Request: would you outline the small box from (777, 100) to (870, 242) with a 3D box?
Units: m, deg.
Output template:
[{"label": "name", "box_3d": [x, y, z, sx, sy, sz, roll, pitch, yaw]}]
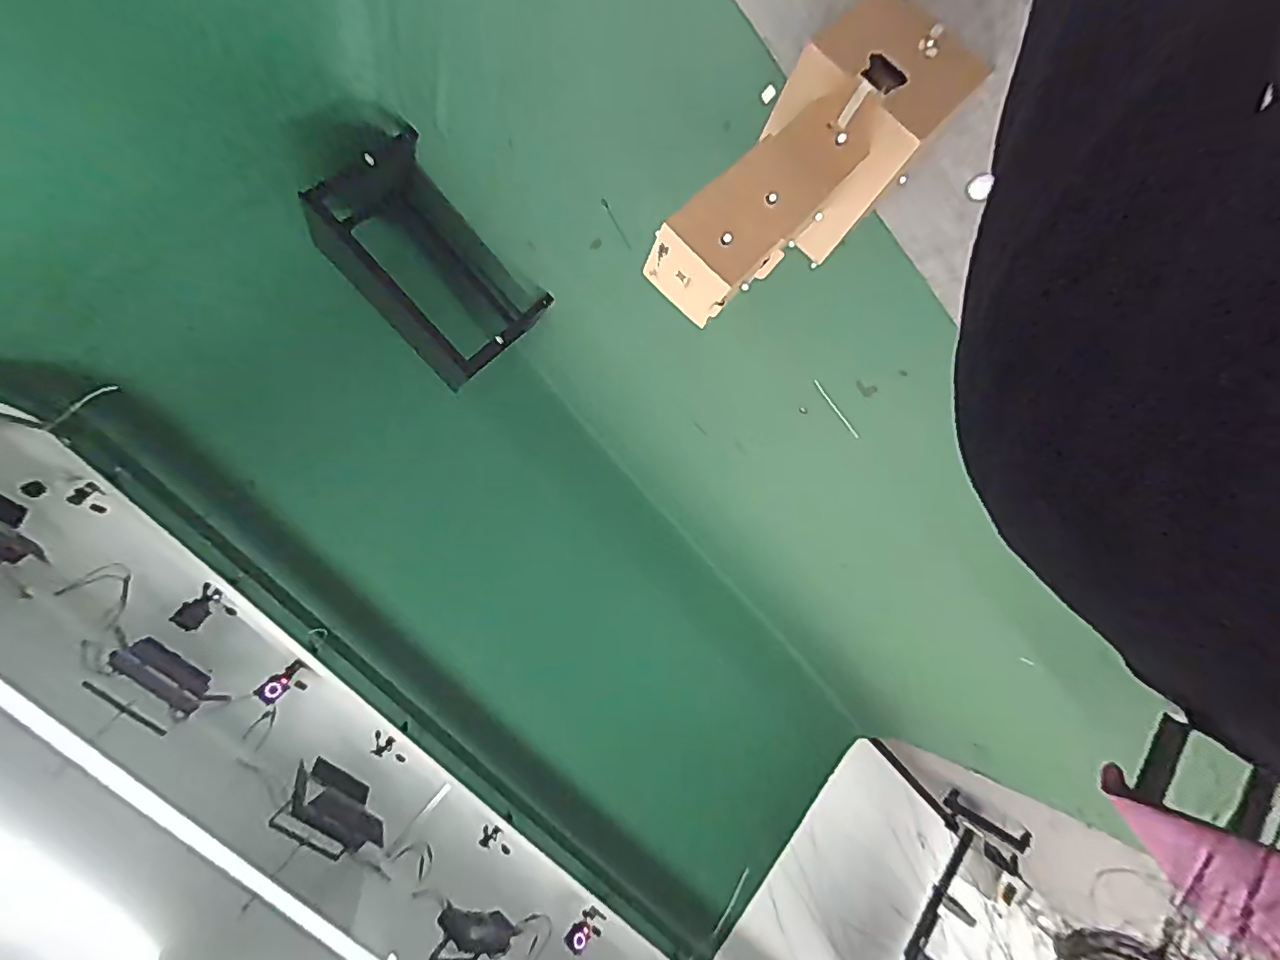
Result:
[{"label": "small box", "box_3d": [0.368, -0.678, 1.195, 0.168, 0.176, 0.179, 43, 162, -1]}]

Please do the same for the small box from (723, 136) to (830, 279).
[{"label": "small box", "box_3d": [0.261, -0.570, 1.135, 0.179, 0.176, 0.168, 44, 162, -3]}]

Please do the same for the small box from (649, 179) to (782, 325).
[{"label": "small box", "box_3d": [0.151, -0.457, 1.087, 0.179, 0.176, 0.168, 42, 162, -2]}]

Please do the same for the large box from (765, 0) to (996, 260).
[{"label": "large box", "box_3d": [0.525, -0.839, 1.297, 0.320, 0.320, 0.408, 44, 163, 3]}]
